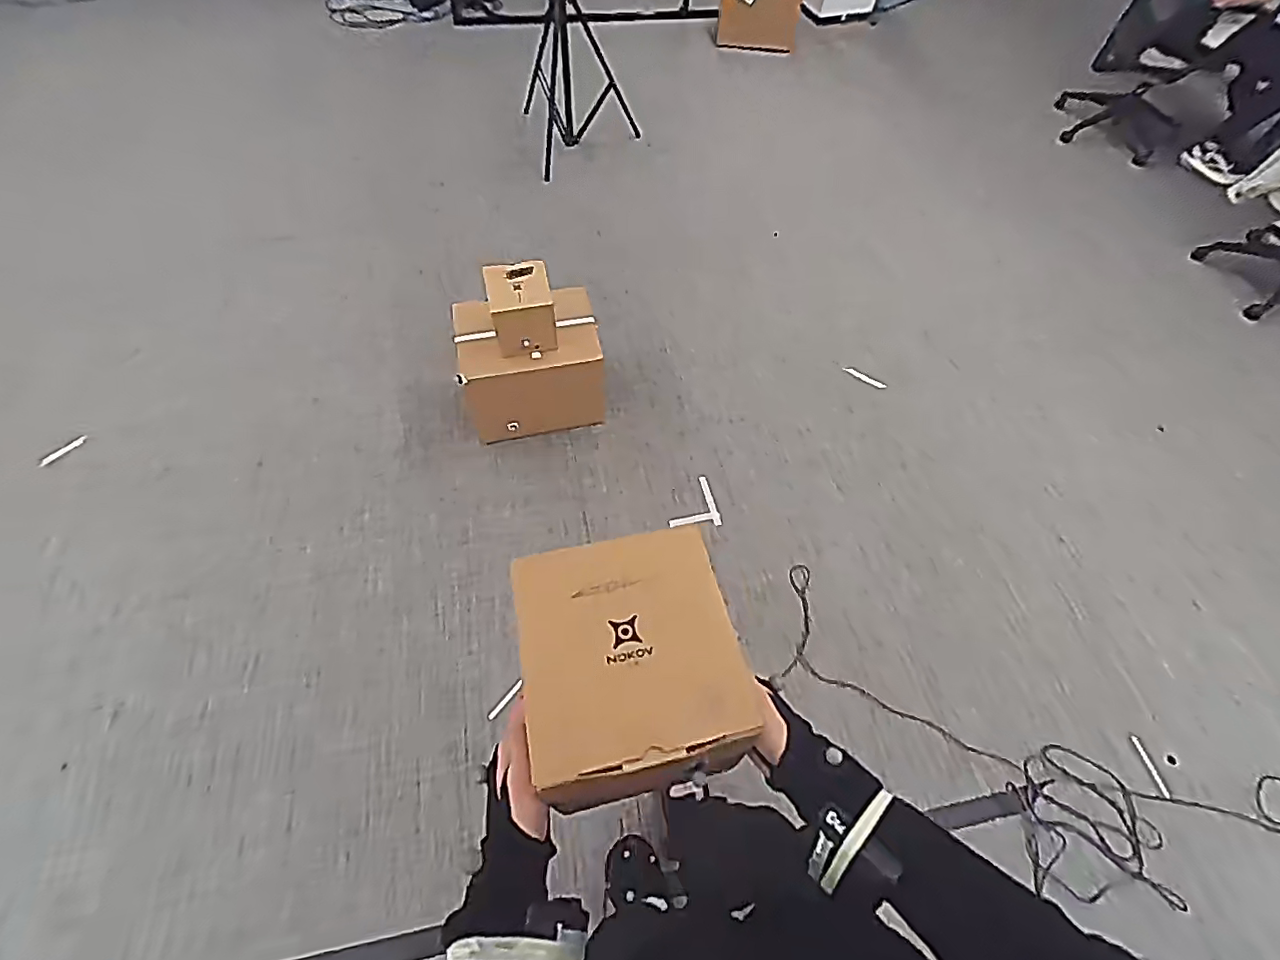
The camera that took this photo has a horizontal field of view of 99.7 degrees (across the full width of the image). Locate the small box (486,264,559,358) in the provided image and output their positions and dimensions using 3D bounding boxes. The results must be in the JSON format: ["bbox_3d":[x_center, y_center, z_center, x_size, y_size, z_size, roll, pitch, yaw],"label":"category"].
[{"bbox_3d":[-0.324,-0.467,1.499,0.168,0.176,0.179,-11,62,-9],"label":"small box"}]

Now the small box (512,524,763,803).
[{"bbox_3d":[-0.010,0.168,0.479,0.168,0.176,0.179,-11,53,-9],"label":"small box"}]
